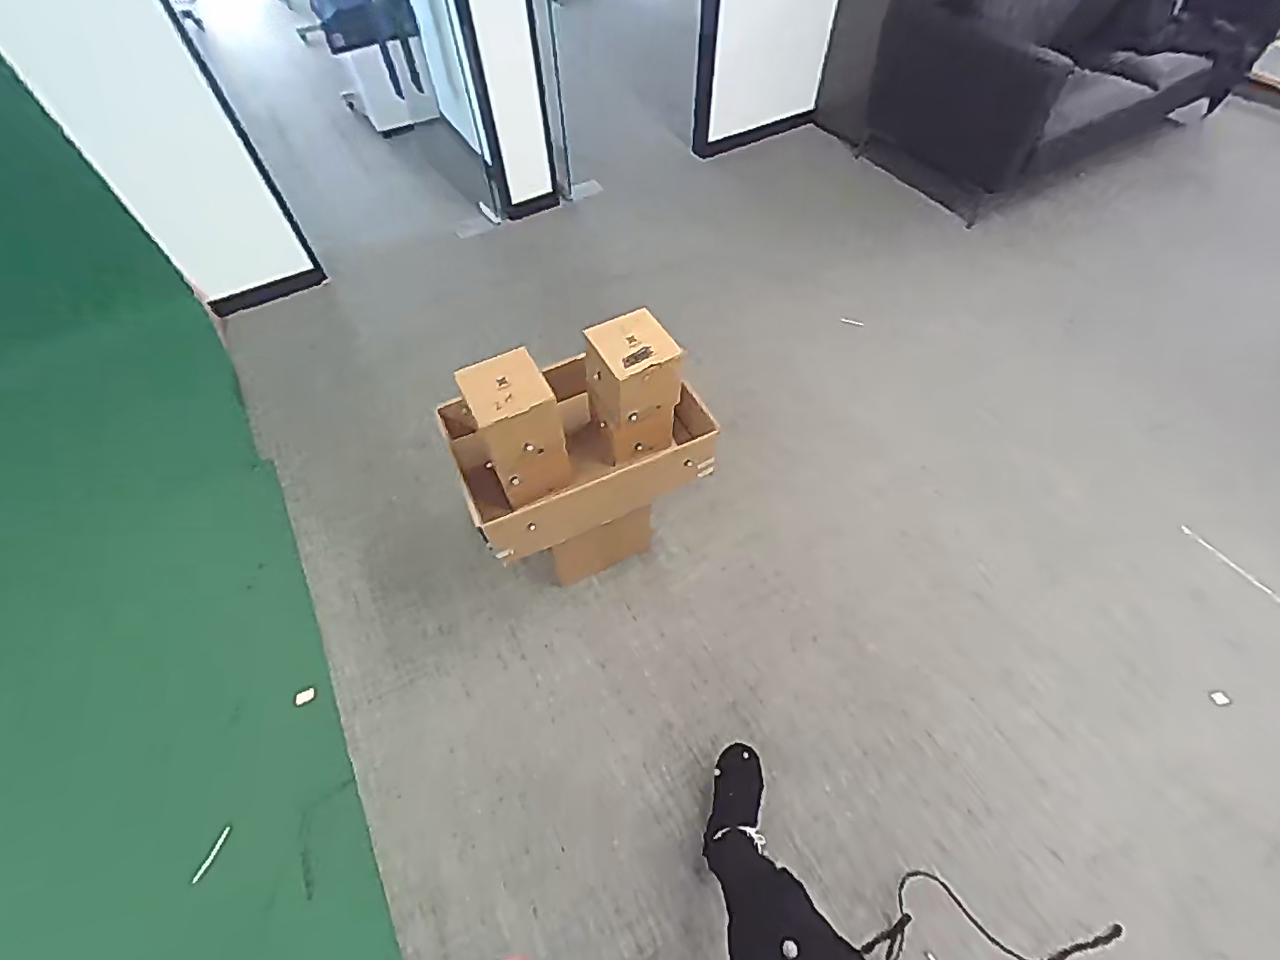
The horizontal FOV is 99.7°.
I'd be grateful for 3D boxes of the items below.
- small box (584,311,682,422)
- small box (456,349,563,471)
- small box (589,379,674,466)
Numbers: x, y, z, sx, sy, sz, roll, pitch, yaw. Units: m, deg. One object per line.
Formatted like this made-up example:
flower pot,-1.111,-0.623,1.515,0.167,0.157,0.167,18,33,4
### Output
small box,-0.016,-0.257,1.267,0.168,0.176,0.179,-24,60,-16
small box,-0.283,-0.151,1.195,0.168,0.176,0.179,-25,60,-15
small box,-0.025,-0.168,1.405,0.168,0.176,0.179,-21,59,-14
